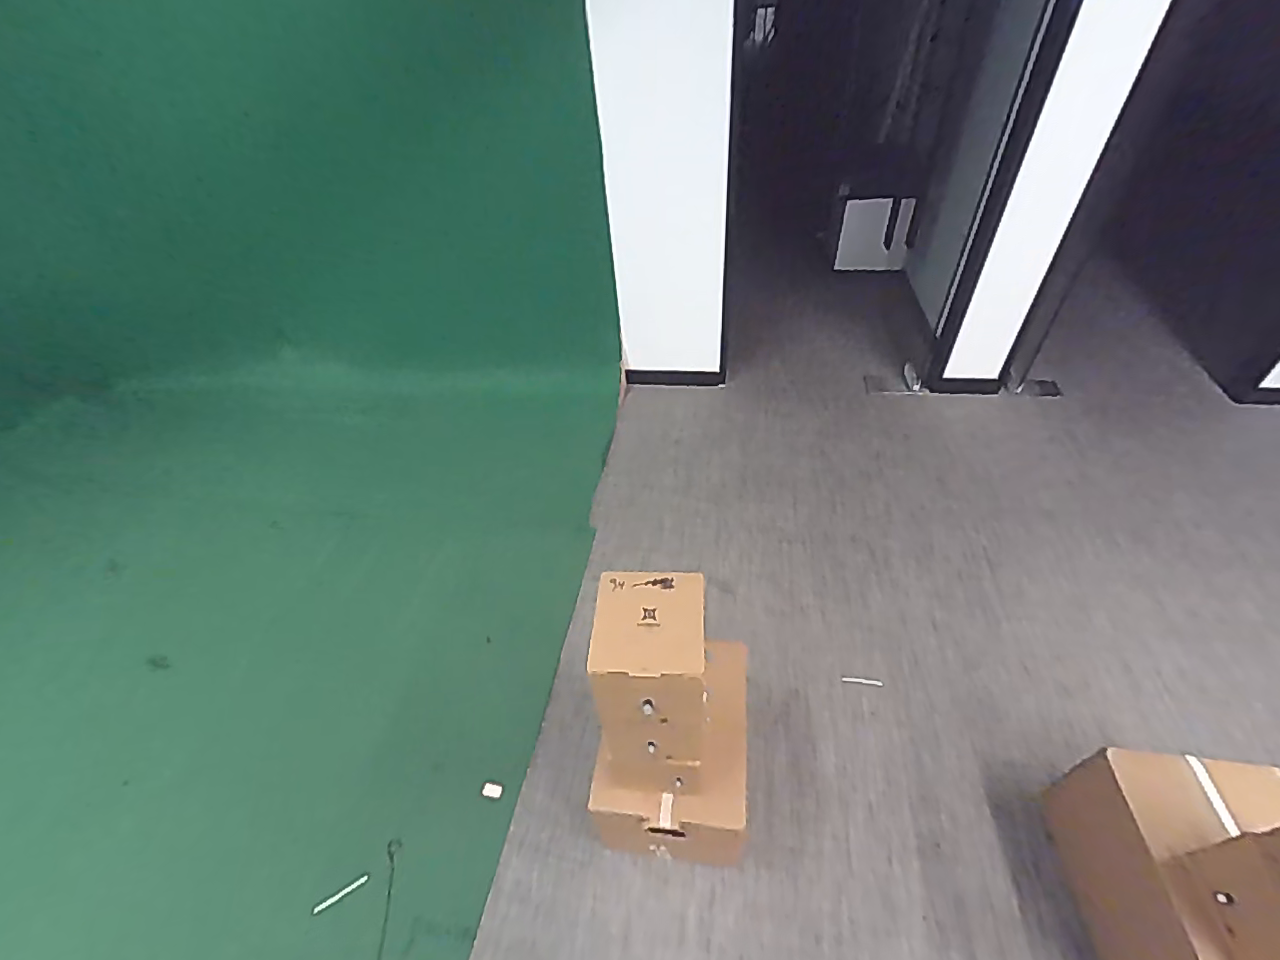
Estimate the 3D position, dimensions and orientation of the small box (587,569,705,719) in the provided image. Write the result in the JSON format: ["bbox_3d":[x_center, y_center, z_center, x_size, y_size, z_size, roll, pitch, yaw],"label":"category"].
[{"bbox_3d":[0.019,0.261,0.857,0.168,0.176,0.179,1,45,6],"label":"small box"}]

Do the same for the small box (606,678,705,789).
[{"bbox_3d":[0.039,0.500,1.083,0.179,0.176,0.168,1,44,8],"label":"small box"}]

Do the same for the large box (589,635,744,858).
[{"bbox_3d":[0.083,0.625,1.300,0.320,0.320,0.408,3,44,8],"label":"large box"}]

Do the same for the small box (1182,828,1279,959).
[{"bbox_3d":[1.020,0.659,0.832,0.179,0.176,0.168,1,45,8],"label":"small box"}]

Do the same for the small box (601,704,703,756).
[{"bbox_3d":[0.029,0.378,0.973,0.168,0.176,0.179,-1,43,4],"label":"small box"}]
